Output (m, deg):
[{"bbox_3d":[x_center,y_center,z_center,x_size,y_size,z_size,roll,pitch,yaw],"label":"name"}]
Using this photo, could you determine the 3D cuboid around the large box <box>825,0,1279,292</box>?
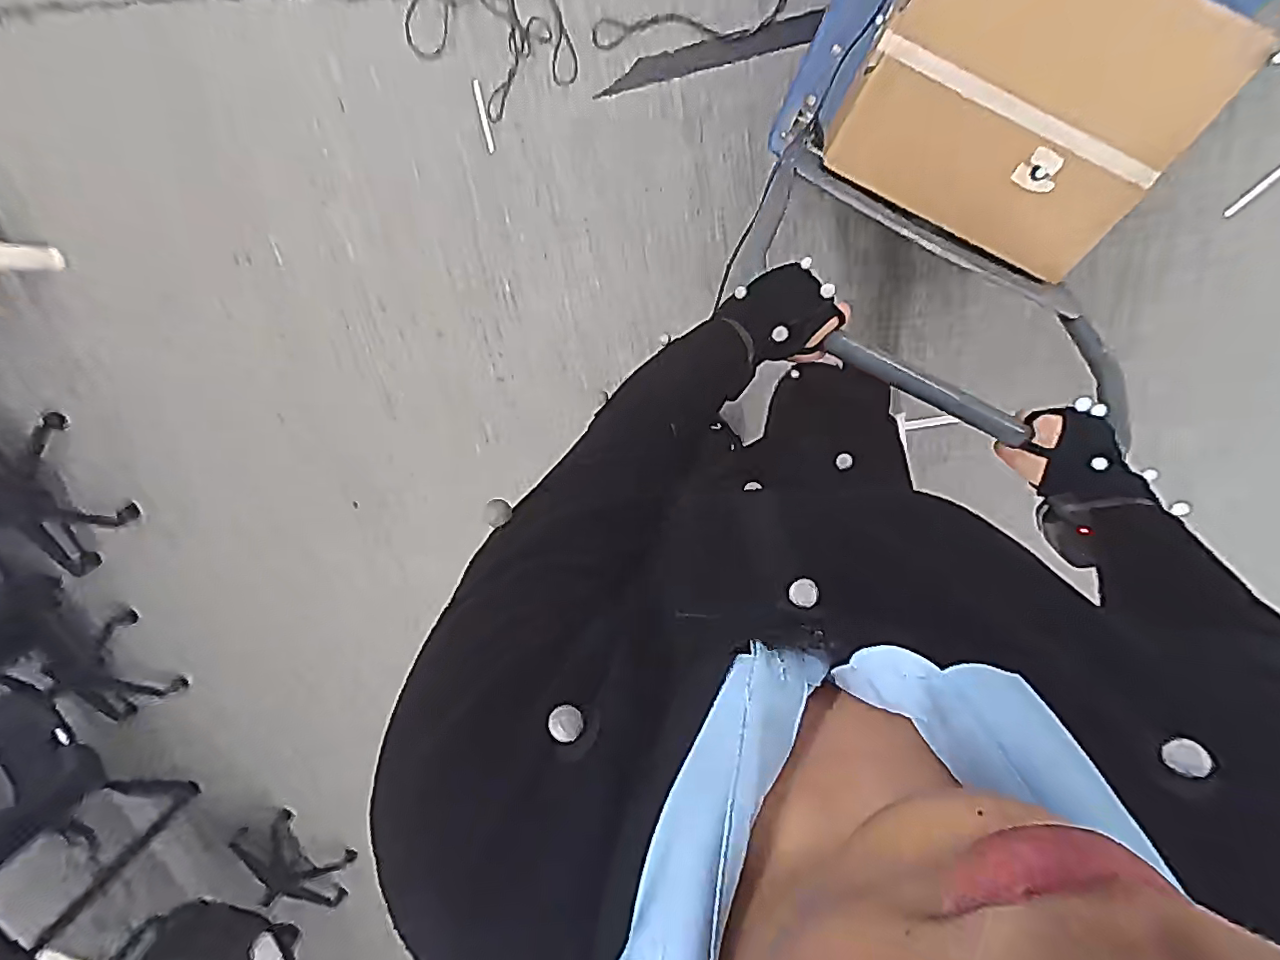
[{"bbox_3d":[0.540,-0.556,0.820,0.408,0.320,0.320,26,132,-3],"label":"large box"}]
